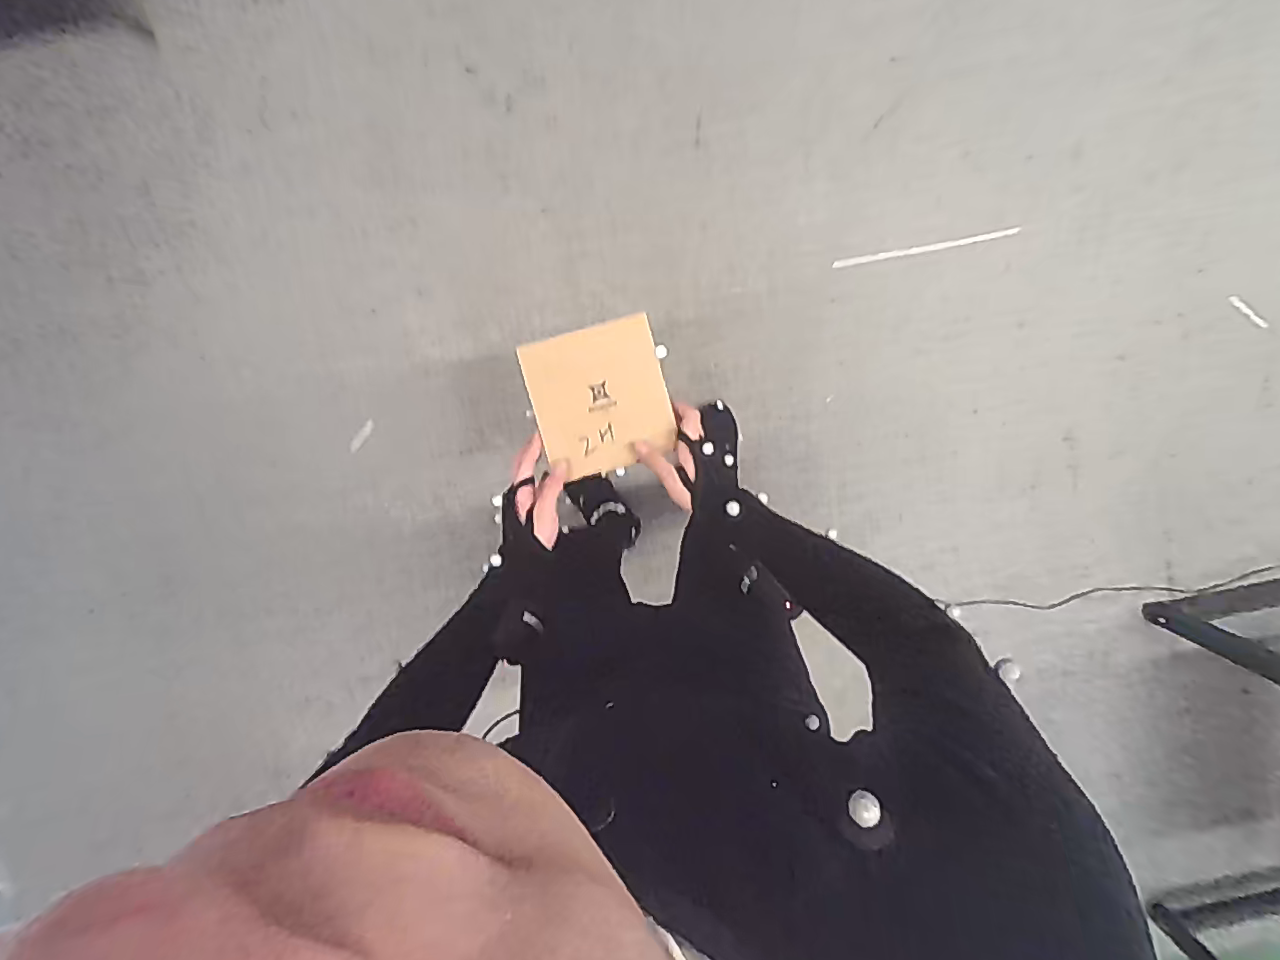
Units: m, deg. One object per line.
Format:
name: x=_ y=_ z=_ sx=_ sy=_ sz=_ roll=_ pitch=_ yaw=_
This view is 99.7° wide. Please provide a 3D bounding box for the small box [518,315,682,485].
small box: x=-0.051 y=-0.099 z=0.732 sx=0.168 sy=0.176 sz=0.179 roll=-15 pitch=94 yaw=-1
